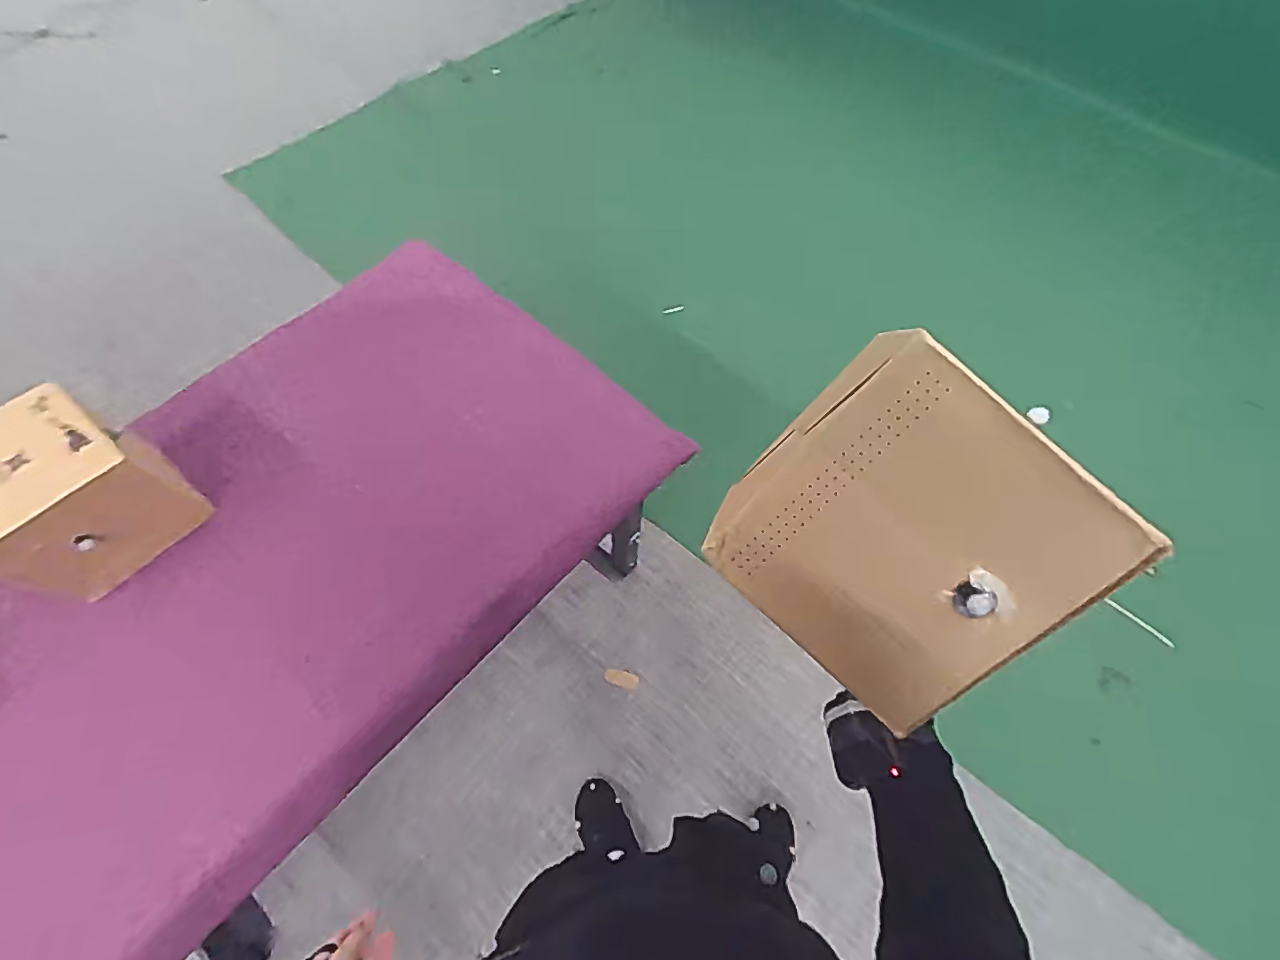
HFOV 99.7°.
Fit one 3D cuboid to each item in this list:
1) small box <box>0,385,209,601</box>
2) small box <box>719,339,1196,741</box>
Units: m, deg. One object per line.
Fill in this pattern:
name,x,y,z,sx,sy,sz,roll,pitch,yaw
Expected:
small box,-0.706,0.025,0.673,0.168,0.176,0.179,38,68,13
small box,0.178,0.023,0.368,0.176,0.168,0.179,43,110,4
